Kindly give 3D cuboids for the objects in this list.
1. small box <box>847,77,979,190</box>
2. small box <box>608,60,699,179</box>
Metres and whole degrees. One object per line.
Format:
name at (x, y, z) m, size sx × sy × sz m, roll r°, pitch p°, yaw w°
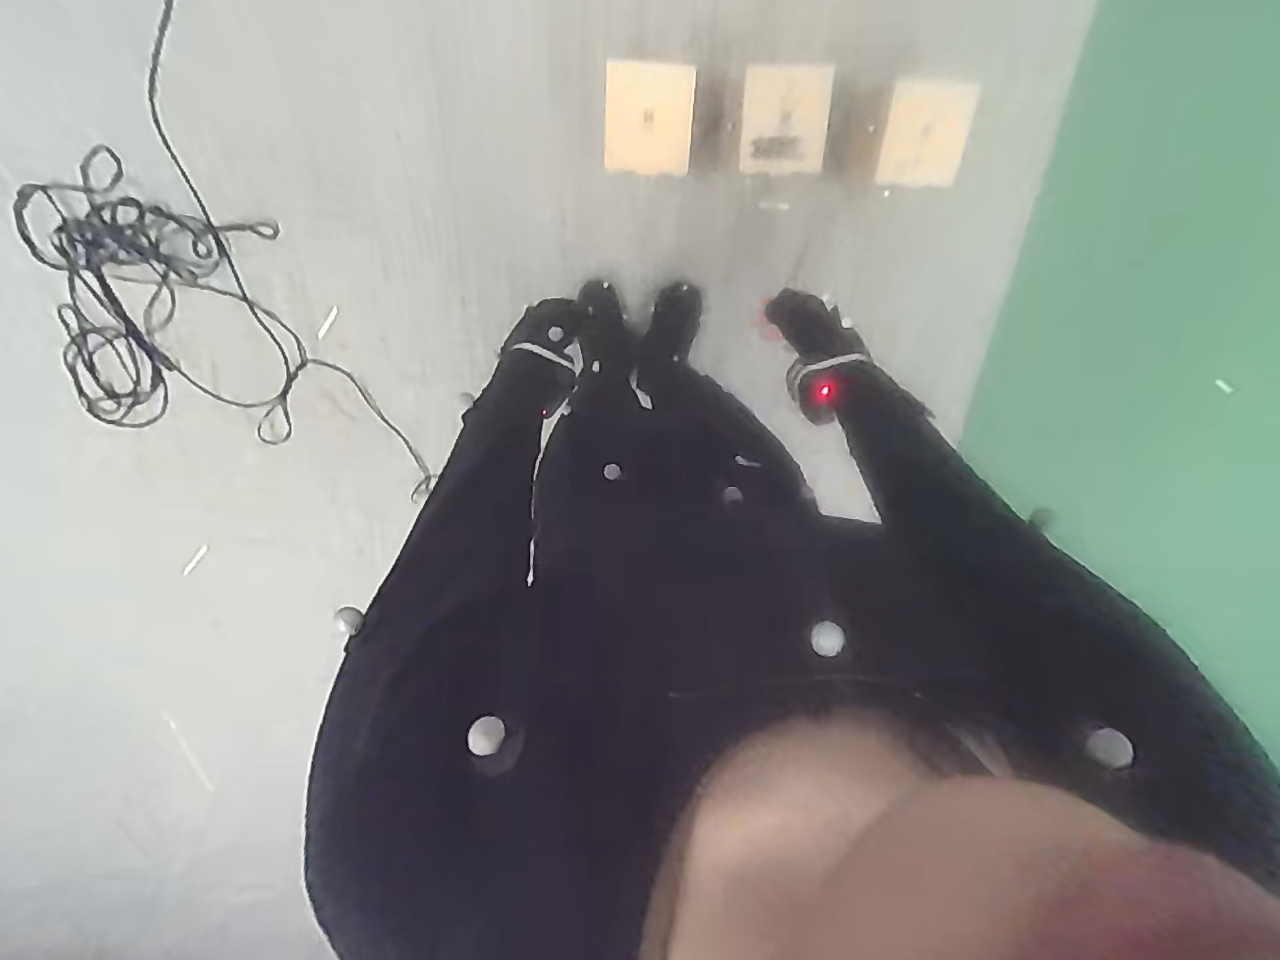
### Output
small box at (0.550, -0.706, 1.118) m, size 0.168 × 0.176 × 0.179 m, roll 2°, pitch 117°, yaw -2°
small box at (0.021, -0.718, 1.093) m, size 0.168 × 0.176 × 0.179 m, roll 2°, pitch 117°, yaw -2°
